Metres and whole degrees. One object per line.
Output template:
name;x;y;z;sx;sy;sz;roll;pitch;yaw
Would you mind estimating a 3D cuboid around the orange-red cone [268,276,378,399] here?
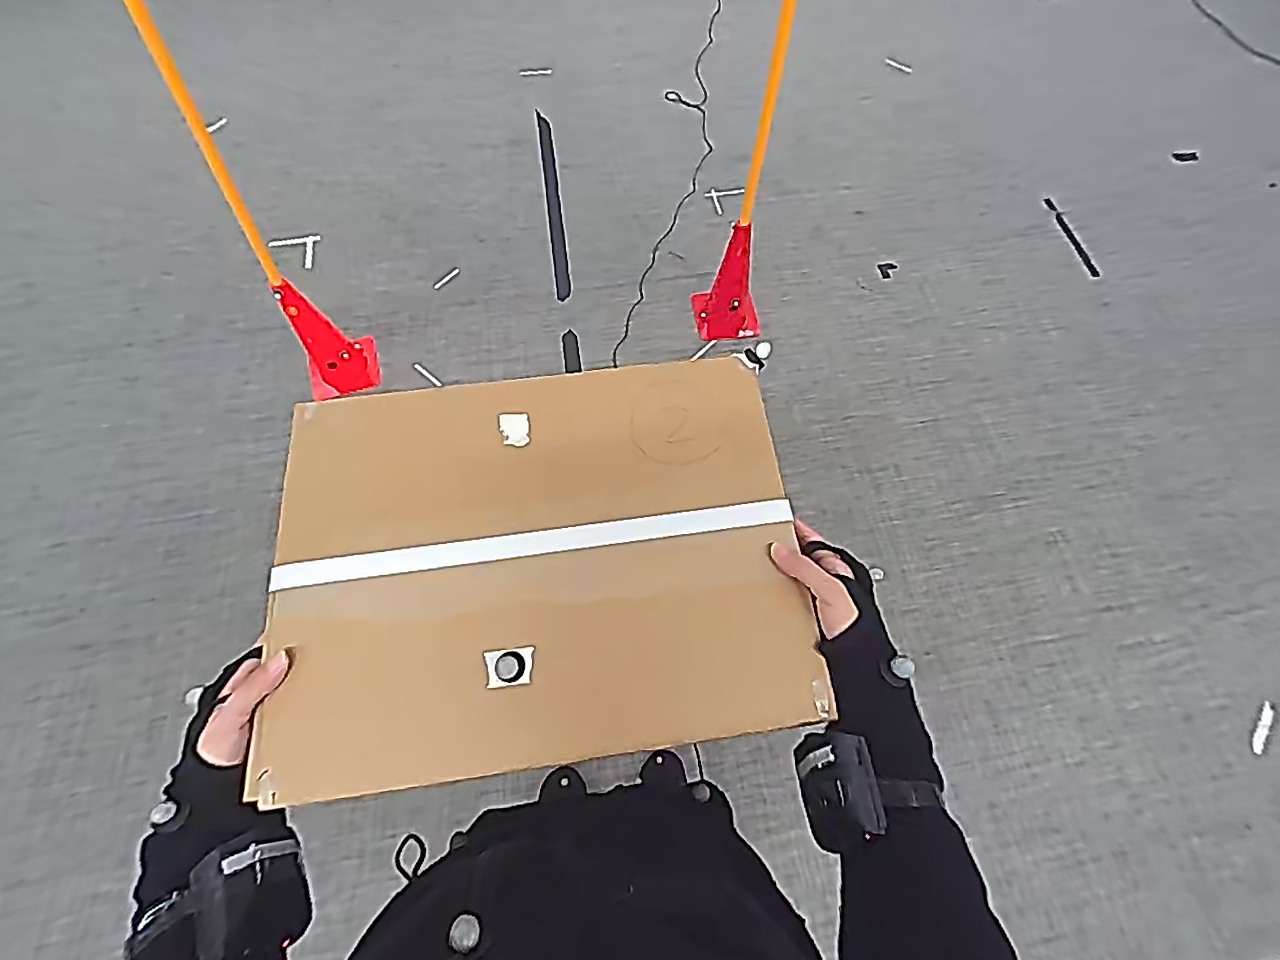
orange-red cone;-0.908;-0.417;1.500;0.199;0.360;0.198;-17;65;-7
